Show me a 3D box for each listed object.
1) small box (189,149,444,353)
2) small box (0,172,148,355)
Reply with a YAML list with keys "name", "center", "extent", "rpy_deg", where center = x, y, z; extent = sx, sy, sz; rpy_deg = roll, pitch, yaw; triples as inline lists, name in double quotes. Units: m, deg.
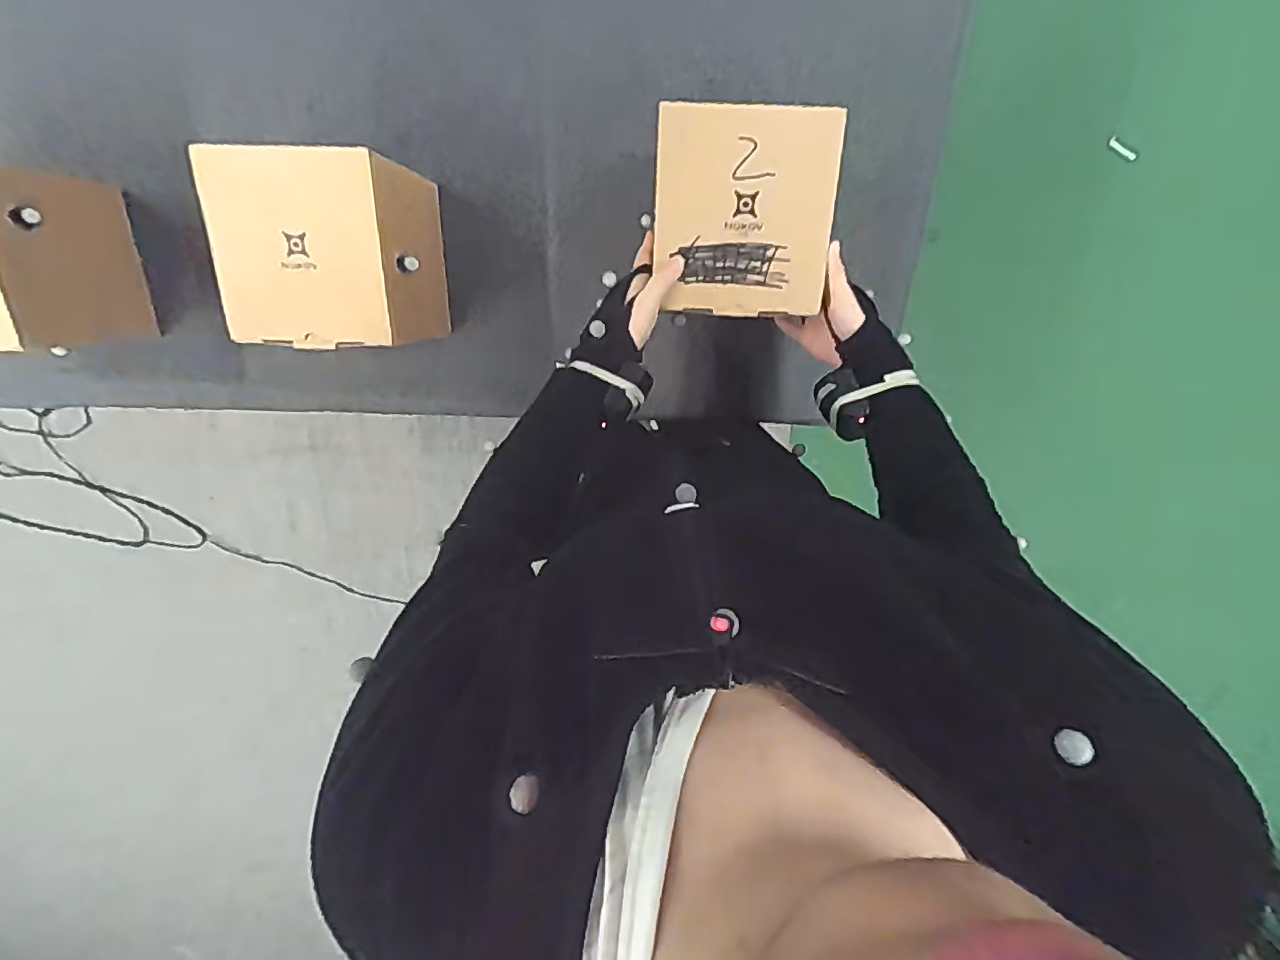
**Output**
- name: "small box"
  center: [-0.326, -0.236, 0.586]
  extent: [0.168, 0.176, 0.179]
  rpy_deg: [1, 109, -1]
- name: "small box"
  center: [-0.700, -0.233, 0.585]
  extent: [0.168, 0.176, 0.179]
  rpy_deg: [1, 108, 0]
